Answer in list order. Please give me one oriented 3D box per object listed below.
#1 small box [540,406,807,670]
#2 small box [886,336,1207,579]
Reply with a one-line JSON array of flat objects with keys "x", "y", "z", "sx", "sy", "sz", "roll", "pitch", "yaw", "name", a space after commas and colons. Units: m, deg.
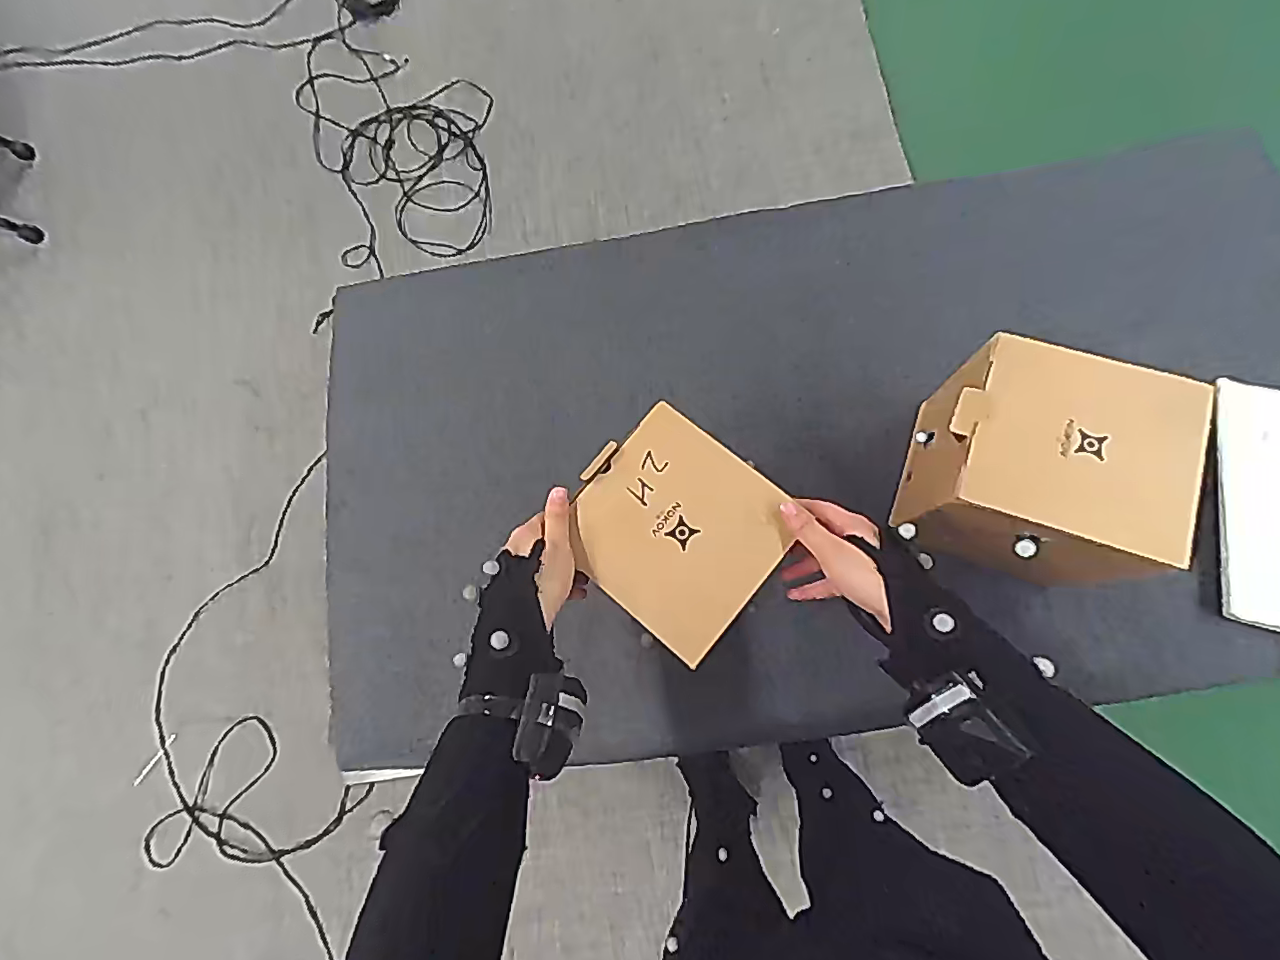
[{"x": 0.036, "y": 0.061, "z": 0.545, "sx": 0.179, "sy": 0.176, "sz": 0.168, "roll": 39, "pitch": 83, "yaw": 14, "name": "small box"}, {"x": 0.373, "y": -0.009, "z": 0.528, "sx": 0.179, "sy": 0.176, "sz": 0.168, "roll": 19, "pitch": 78, "yaw": 11, "name": "small box"}]
